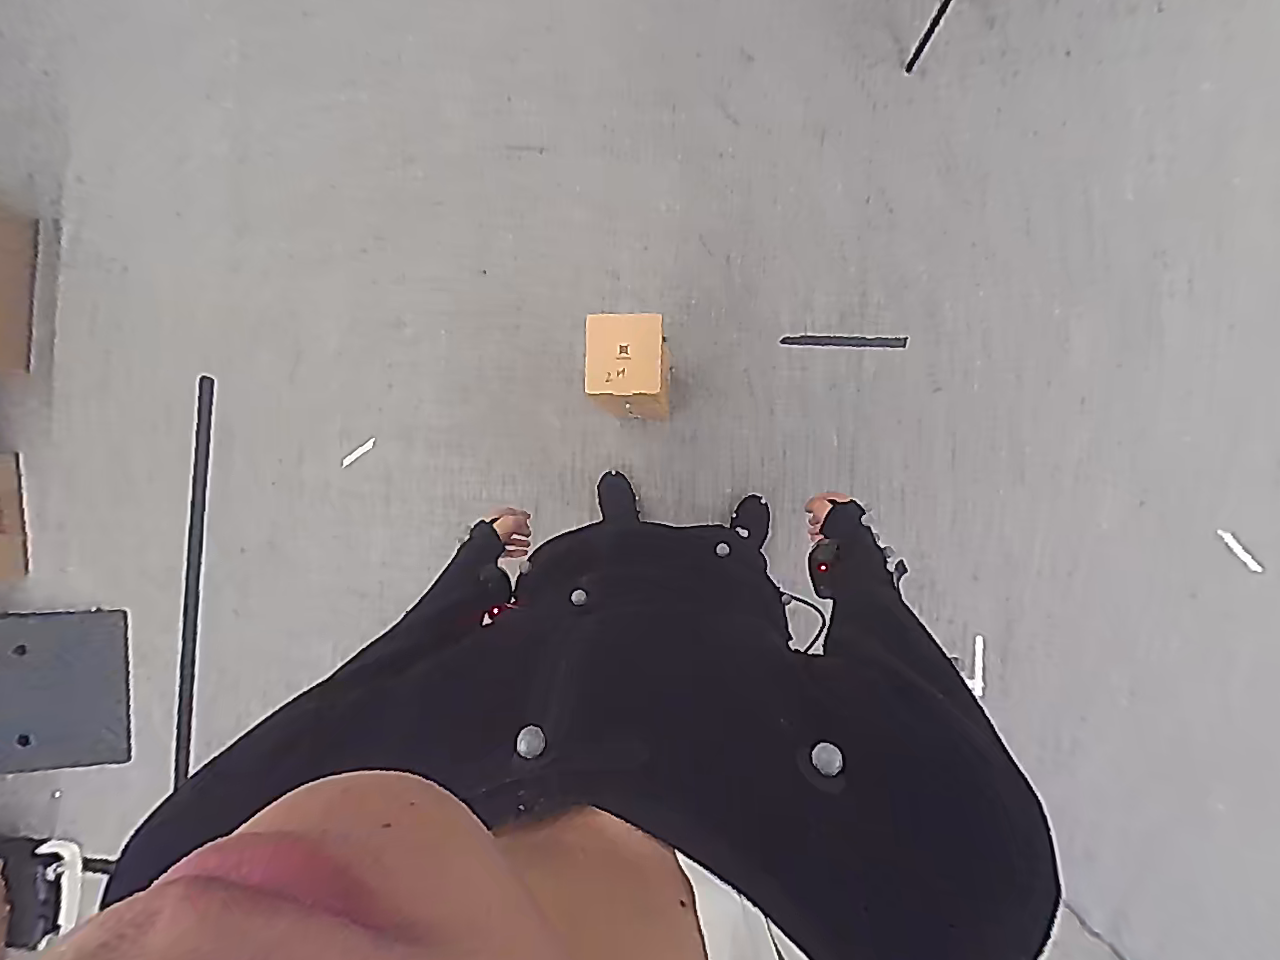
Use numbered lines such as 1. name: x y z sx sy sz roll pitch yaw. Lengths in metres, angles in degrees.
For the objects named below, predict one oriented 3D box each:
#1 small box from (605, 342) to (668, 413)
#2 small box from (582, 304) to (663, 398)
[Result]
1. small box: -0.006 -0.293 1.561 0.168 0.176 0.179 2 90 5
2. small box: -0.034 -0.288 1.234 0.168 0.176 0.179 2 91 5
